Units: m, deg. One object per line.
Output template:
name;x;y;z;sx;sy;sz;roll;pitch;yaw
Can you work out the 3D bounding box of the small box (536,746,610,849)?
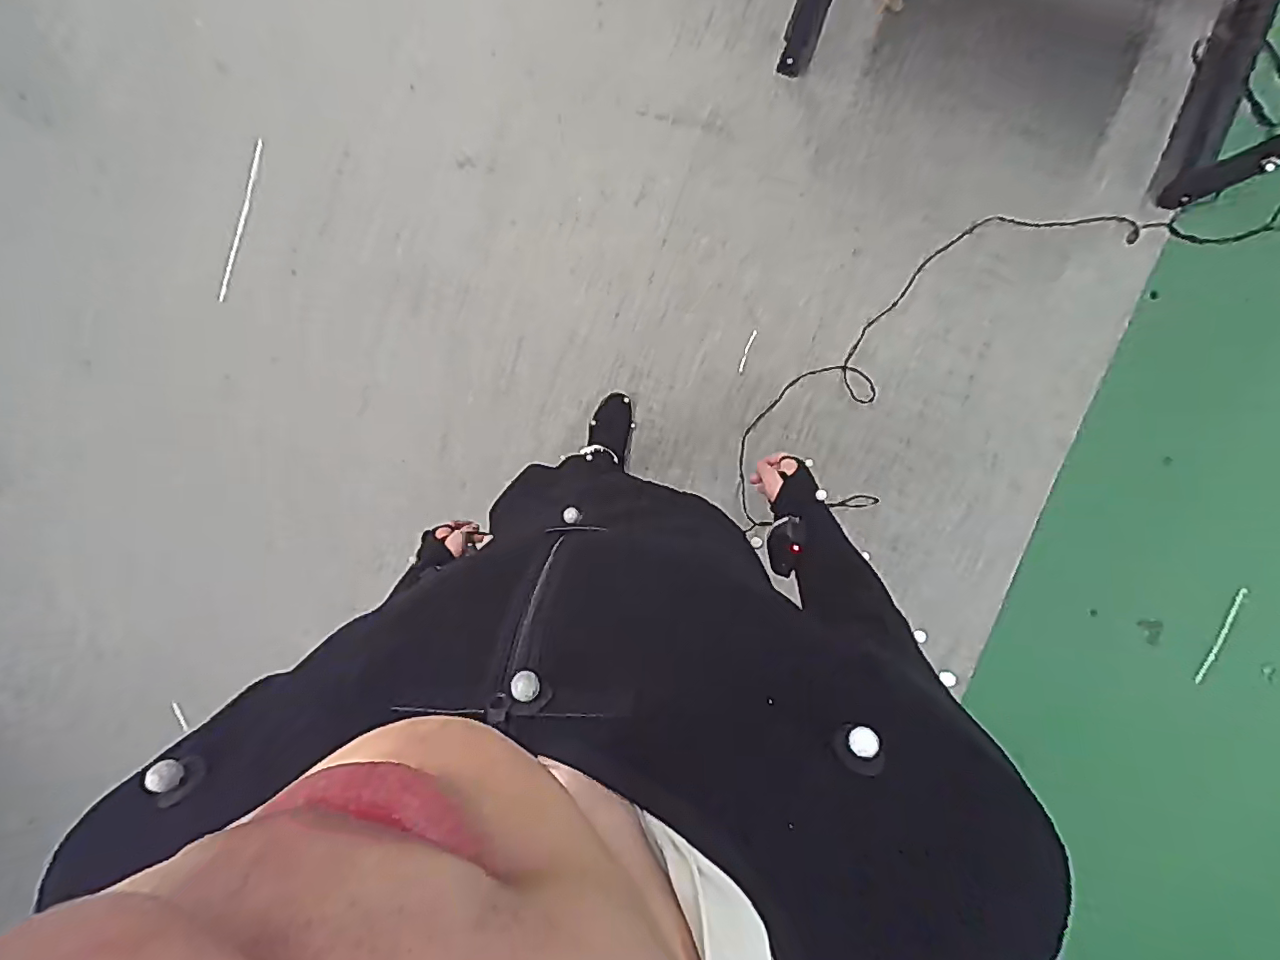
small box;-0.190;0.931;1.599;0.168;0.176;0.179;19;94;-1
